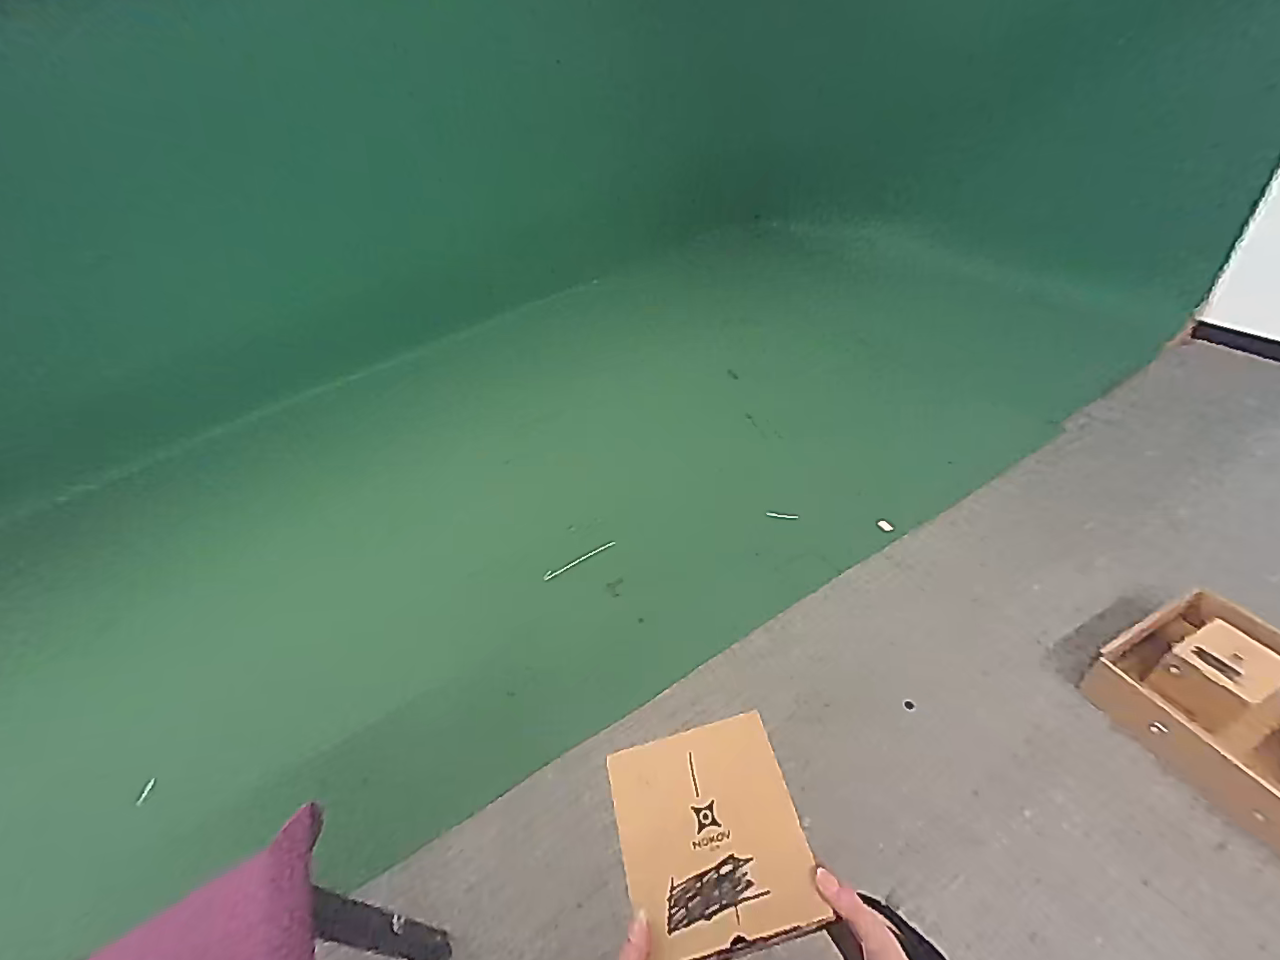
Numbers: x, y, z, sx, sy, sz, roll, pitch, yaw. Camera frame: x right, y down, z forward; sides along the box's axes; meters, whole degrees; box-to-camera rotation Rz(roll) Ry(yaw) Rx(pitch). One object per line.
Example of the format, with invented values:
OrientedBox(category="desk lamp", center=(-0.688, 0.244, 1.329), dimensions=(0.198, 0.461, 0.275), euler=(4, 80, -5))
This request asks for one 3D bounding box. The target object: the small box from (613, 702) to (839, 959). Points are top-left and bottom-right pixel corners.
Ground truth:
OrientedBox(category="small box", center=(0.082, 0.360, 0.548), dimensions=(0.168, 0.176, 0.179), euler=(-16, 46, -2))
